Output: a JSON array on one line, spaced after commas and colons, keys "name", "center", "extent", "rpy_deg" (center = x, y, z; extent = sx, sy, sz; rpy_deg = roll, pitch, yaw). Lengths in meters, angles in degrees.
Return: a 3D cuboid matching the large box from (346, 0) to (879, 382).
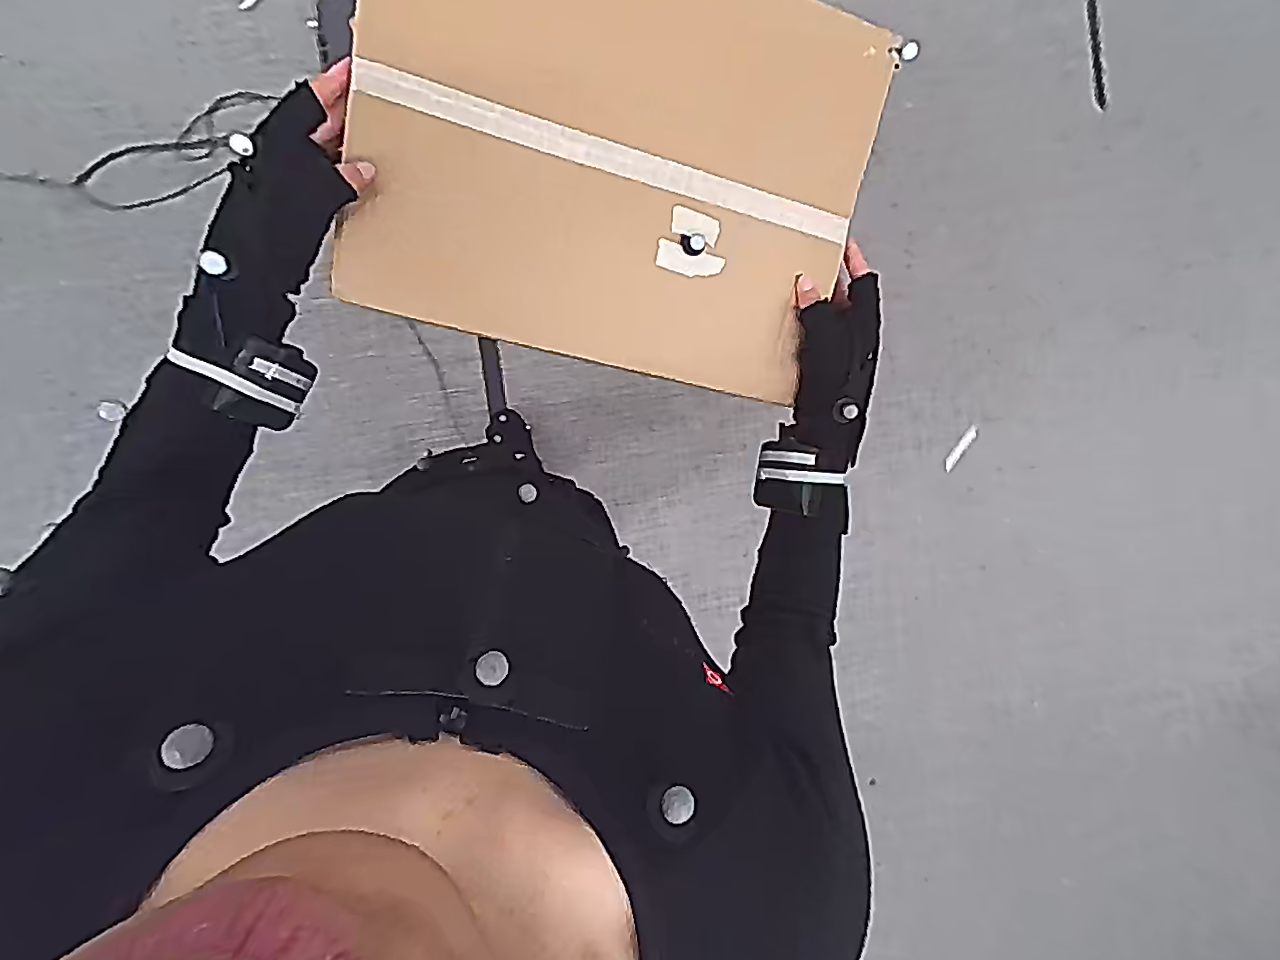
[{"name": "large box", "center": [-0.046, -0.302, 0.581], "extent": [0.408, 0.320, 0.320], "rpy_deg": [9, 103, -14]}]
